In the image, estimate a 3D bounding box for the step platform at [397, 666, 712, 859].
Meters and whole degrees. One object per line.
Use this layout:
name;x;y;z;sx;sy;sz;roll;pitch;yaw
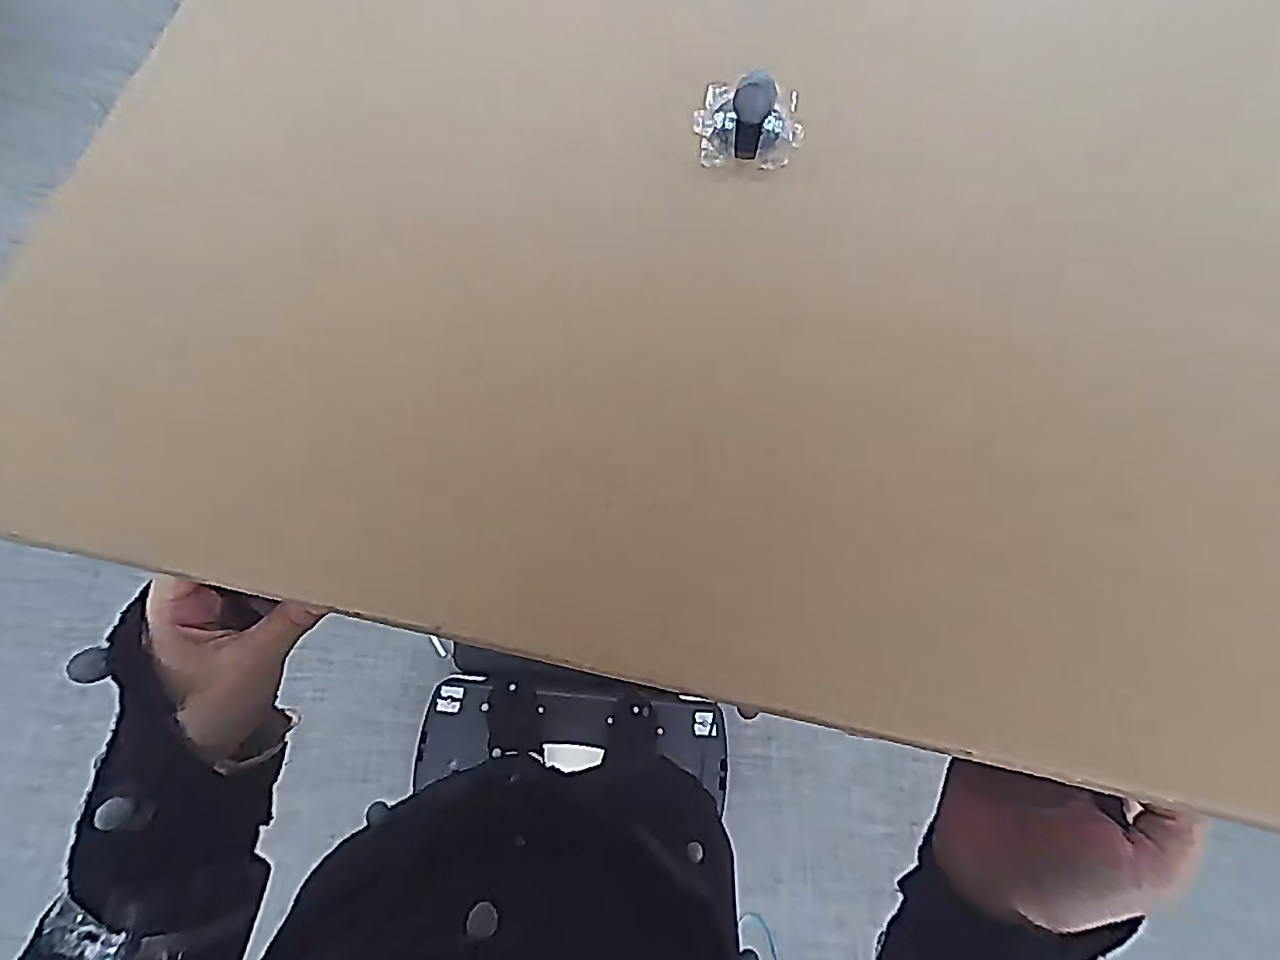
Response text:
step platform;-0.179;0.629;1.236;0.684;0.204;0.286;10;73;2
